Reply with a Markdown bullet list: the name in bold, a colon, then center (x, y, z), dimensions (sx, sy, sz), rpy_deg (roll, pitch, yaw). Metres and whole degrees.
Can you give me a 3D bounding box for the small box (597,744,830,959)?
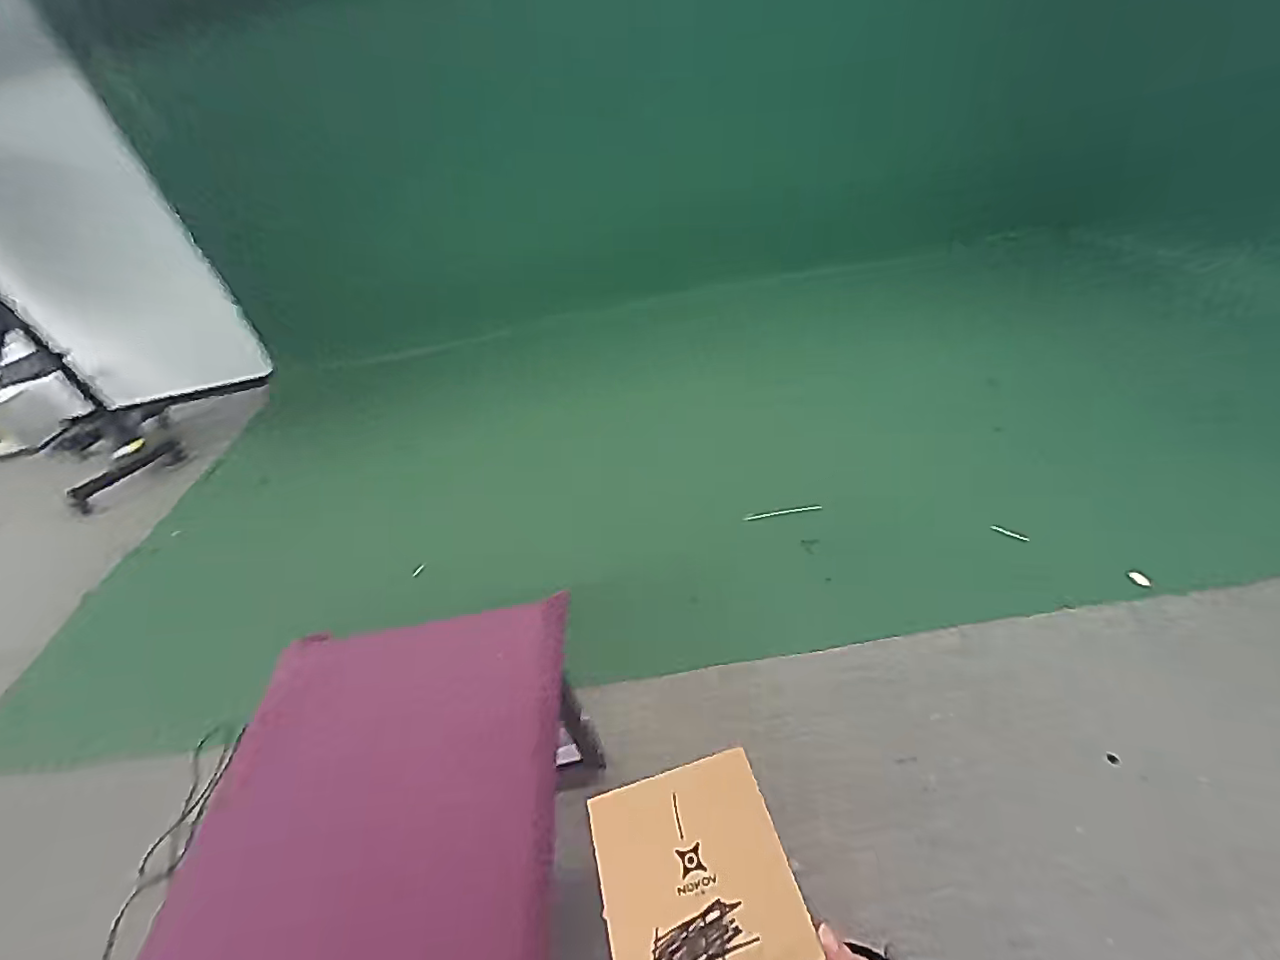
- **small box**: center (0.069, 0.398, 0.529), dimensions (0.168, 0.176, 0.179), rpy_deg (-17, 42, -3)
